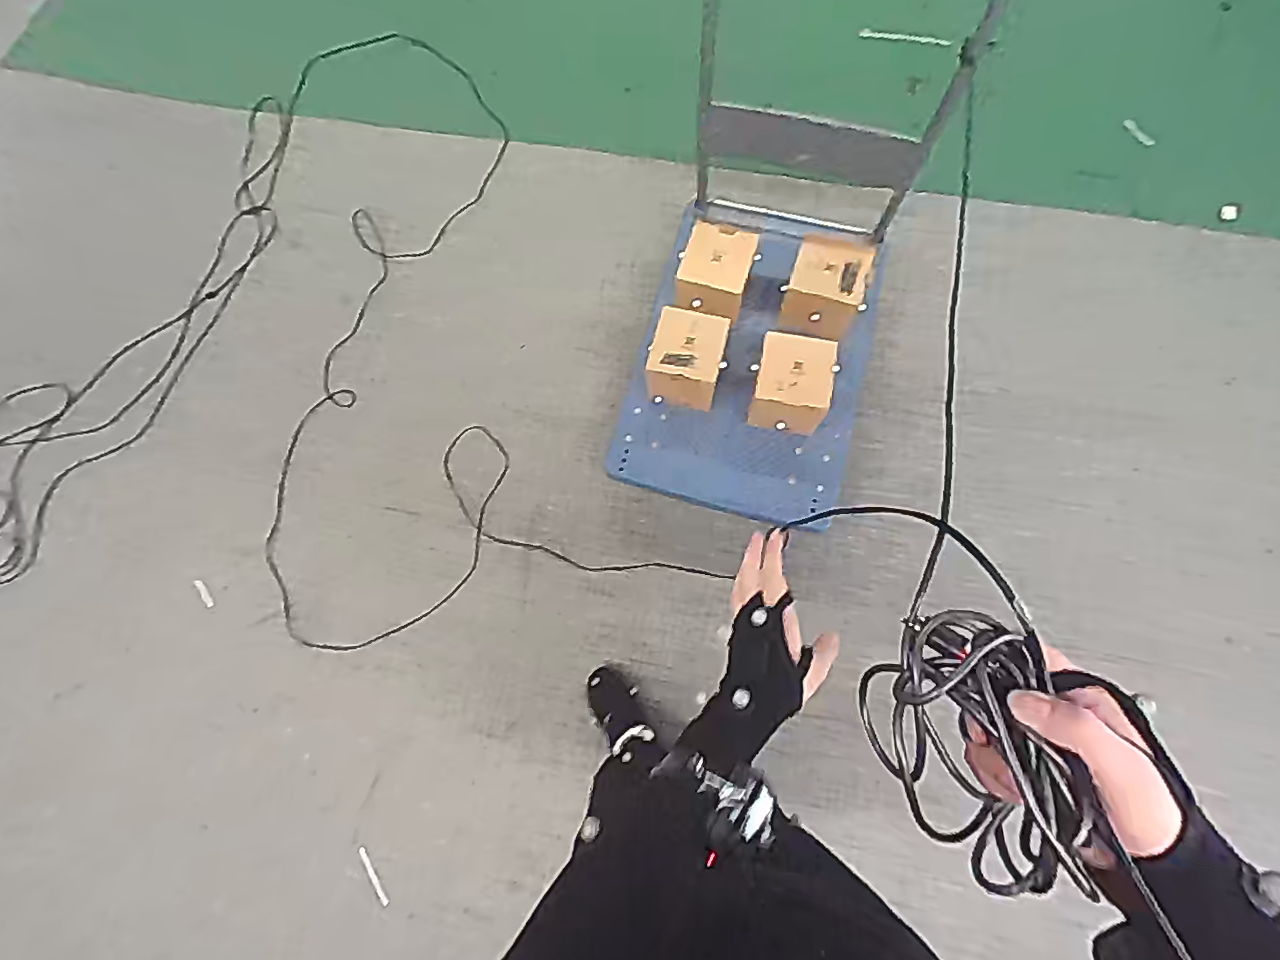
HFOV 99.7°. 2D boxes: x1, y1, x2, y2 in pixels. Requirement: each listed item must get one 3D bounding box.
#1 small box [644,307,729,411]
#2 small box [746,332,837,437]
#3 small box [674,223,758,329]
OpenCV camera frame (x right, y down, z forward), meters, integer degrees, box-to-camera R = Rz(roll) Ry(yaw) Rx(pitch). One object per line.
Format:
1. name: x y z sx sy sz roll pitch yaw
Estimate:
1. small box: 0.114 -0.291 1.333 0.168 0.176 0.179 14 75 6
2. small box: 0.358 -0.224 1.302 0.168 0.176 0.179 12 75 7
3. small box: 0.193 -0.518 1.394 0.168 0.176 0.179 17 75 7
